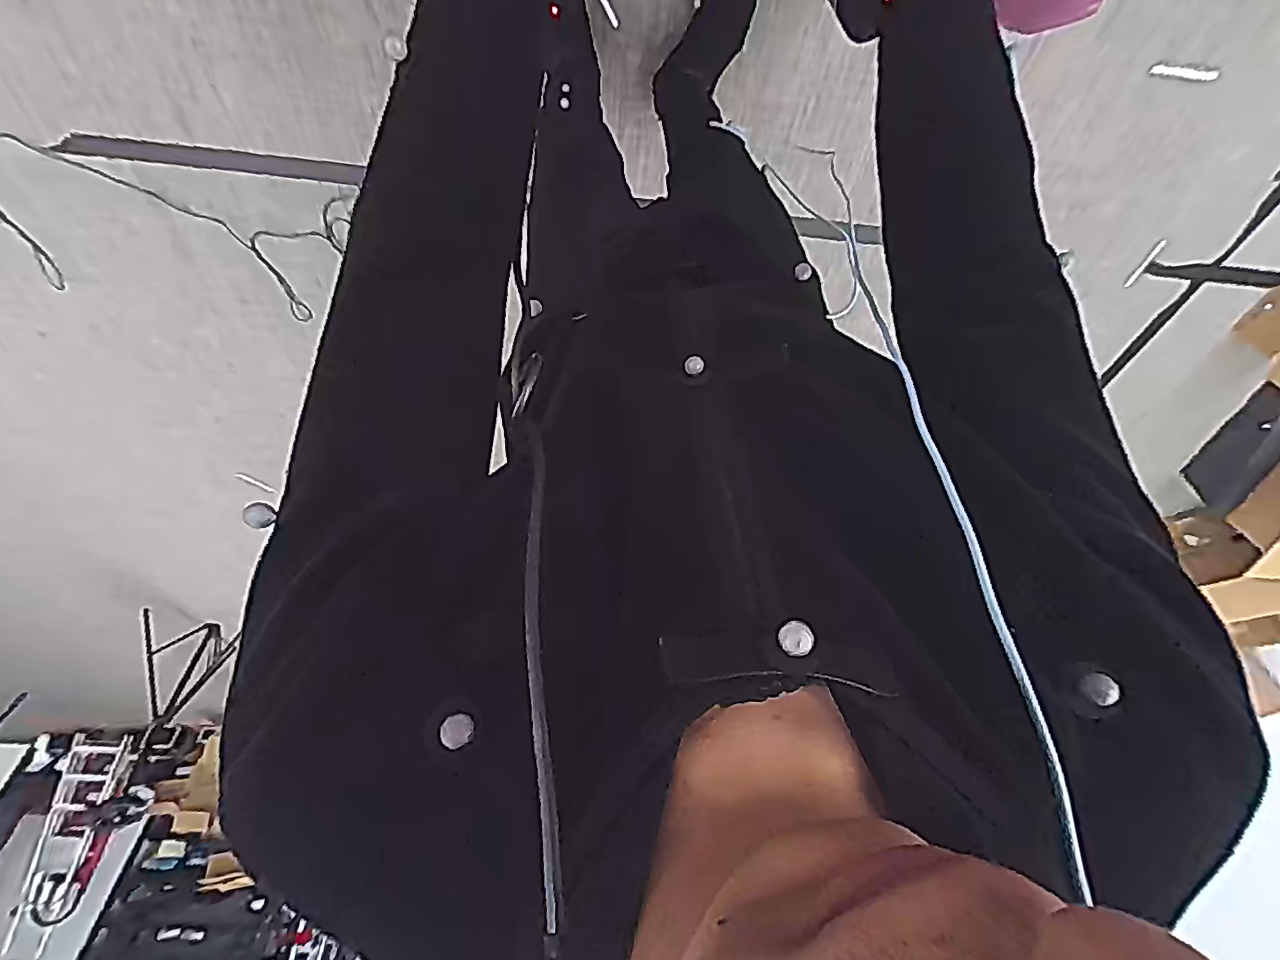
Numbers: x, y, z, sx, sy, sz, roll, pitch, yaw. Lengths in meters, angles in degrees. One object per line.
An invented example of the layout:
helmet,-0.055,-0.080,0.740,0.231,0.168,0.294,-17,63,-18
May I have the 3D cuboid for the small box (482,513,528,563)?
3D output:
small box,-0.609,0.265,2.464,0.179,0.176,0.168,3,140,-2
